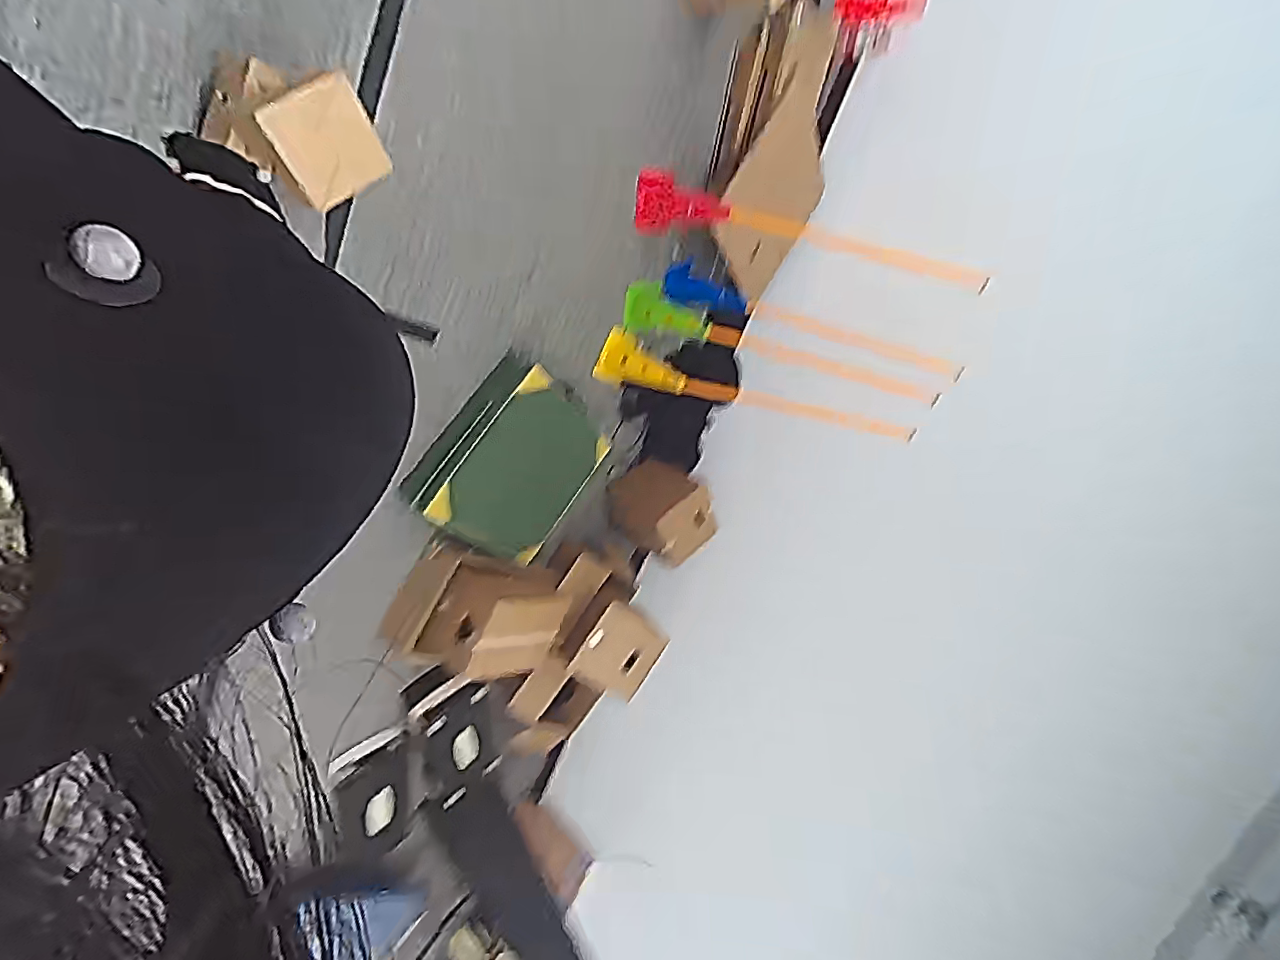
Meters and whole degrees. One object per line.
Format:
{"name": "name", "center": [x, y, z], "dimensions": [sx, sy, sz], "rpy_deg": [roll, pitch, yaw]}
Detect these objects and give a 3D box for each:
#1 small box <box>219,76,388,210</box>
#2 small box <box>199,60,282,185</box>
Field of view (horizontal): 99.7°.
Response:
{"name": "small box", "center": [-0.619, -0.628, 1.009], "dimensions": [0.179, 0.176, 0.168], "rpy_deg": [-48, 146, -22]}
{"name": "small box", "center": [-0.750, -0.698, 1.089], "dimensions": [0.168, 0.176, 0.179], "rpy_deg": [11, 104, -57]}
